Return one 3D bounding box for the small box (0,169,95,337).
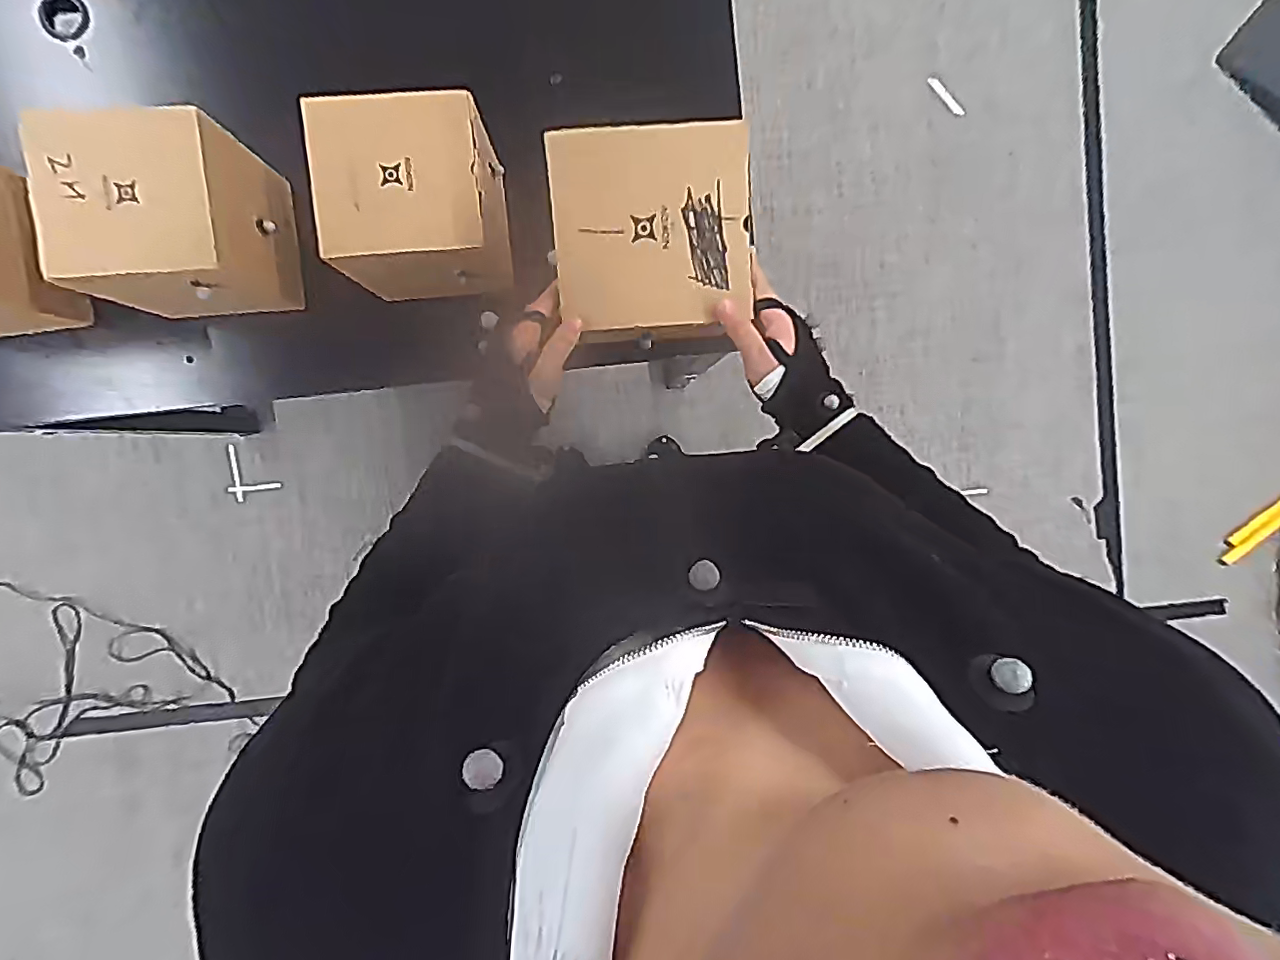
[{"bbox_3d":[-0.805,-0.266,0.621,0.179,0.176,0.168,-9,94,-2],"label":"small box"}]

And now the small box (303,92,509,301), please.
[{"bbox_3d":[-0.261,-0.325,0.650,0.179,0.176,0.168,-6,93,-2],"label":"small box"}]

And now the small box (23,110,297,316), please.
[{"bbox_3d":[-0.533,-0.297,0.634,0.179,0.176,0.168,-5,94,-3],"label":"small box"}]
